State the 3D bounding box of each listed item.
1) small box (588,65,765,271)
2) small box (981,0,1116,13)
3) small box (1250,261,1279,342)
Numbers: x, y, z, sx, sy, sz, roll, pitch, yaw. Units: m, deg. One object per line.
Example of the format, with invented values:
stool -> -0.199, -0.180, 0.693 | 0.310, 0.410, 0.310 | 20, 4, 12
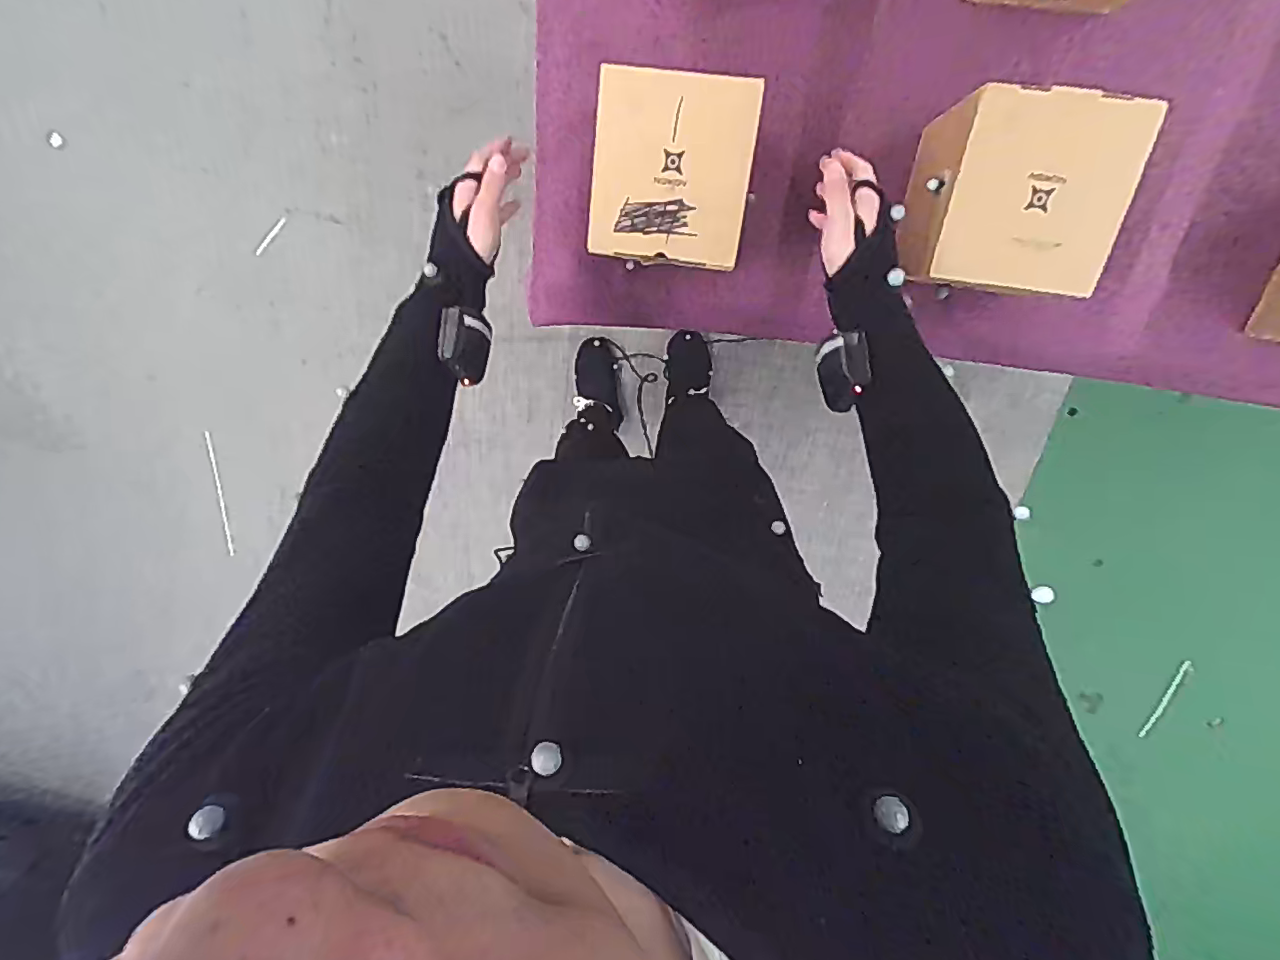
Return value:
small box -> 0.042, -0.347, 0.635 | 0.168, 0.176, 0.179 | 8, 111, 3
small box -> 0.441, -0.583, 0.500 | 0.168, 0.176, 0.179 | 8, 113, 3
small box -> 0.848, -0.228, 0.583 | 0.168, 0.176, 0.179 | 10, 109, 4
